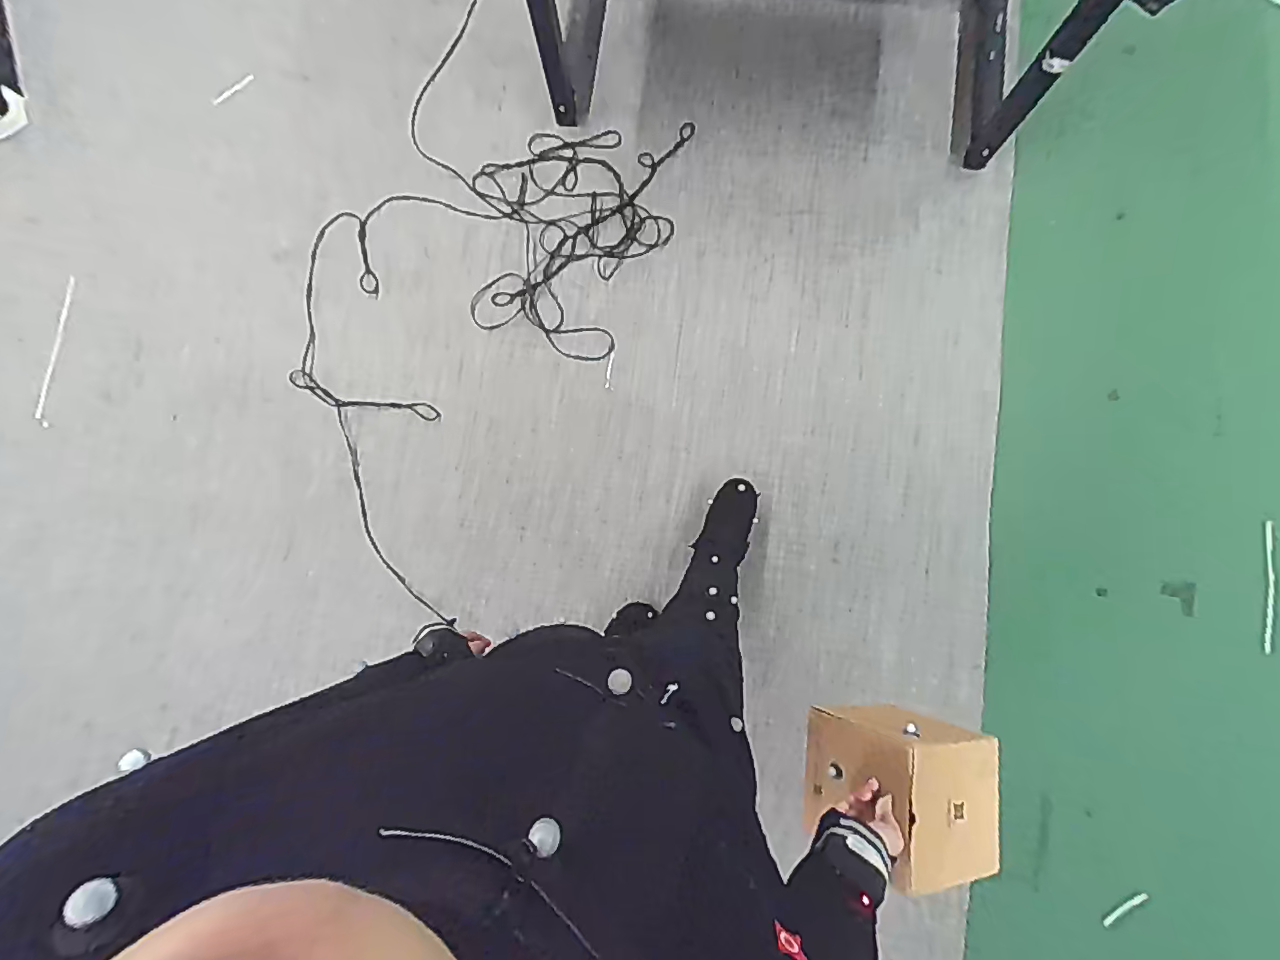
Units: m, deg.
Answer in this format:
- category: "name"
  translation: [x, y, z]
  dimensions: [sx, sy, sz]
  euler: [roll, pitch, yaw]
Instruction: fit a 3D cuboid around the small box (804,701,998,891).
- category: "small box"
  translation: [0.350, 0.407, 0.734]
  dimensions: [0.179, 0.176, 0.168]
  euler: [10, 80, -27]
